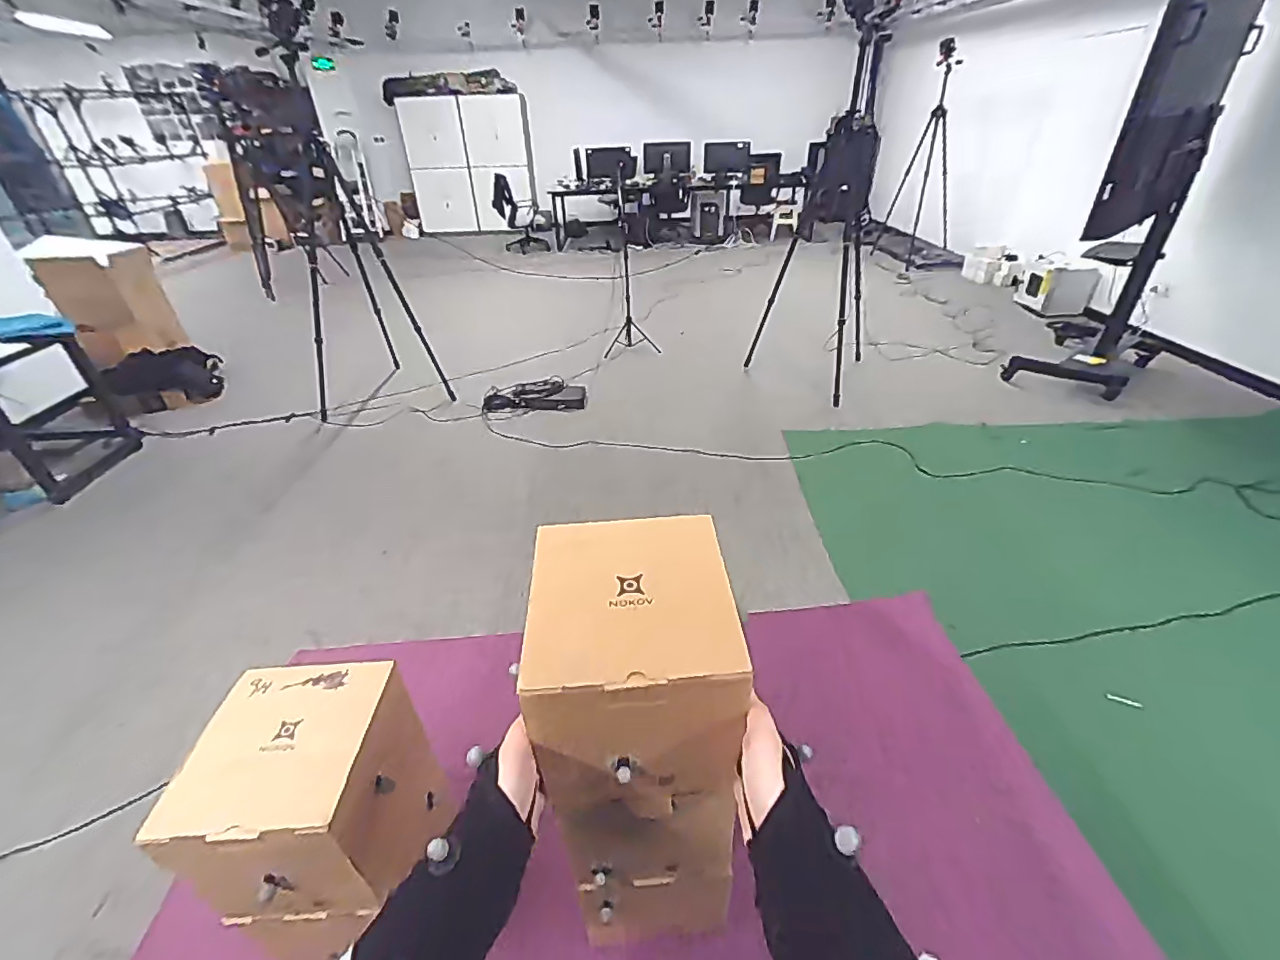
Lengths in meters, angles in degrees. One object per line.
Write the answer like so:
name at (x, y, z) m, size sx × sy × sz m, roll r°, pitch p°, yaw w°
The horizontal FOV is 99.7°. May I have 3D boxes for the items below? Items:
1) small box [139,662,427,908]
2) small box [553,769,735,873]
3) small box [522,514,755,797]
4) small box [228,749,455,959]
small box at (-0.343, 0.320, 0.569) m, size 0.168 × 0.176 × 0.179 m, roll -3°, pitch 34°, yaw -2°
small box at (0.004, 0.295, 0.586) m, size 0.168 × 0.176 × 0.179 m, roll -4°, pitch 32°, yaw -2°
small box at (-0.005, 0.152, 0.487) m, size 0.168 × 0.176 × 0.179 m, roll -4°, pitch 37°, yaw -3°
small box at (-0.336, 0.460, 0.658) m, size 0.168 × 0.176 × 0.179 m, roll -4°, pitch 34°, yaw -1°
